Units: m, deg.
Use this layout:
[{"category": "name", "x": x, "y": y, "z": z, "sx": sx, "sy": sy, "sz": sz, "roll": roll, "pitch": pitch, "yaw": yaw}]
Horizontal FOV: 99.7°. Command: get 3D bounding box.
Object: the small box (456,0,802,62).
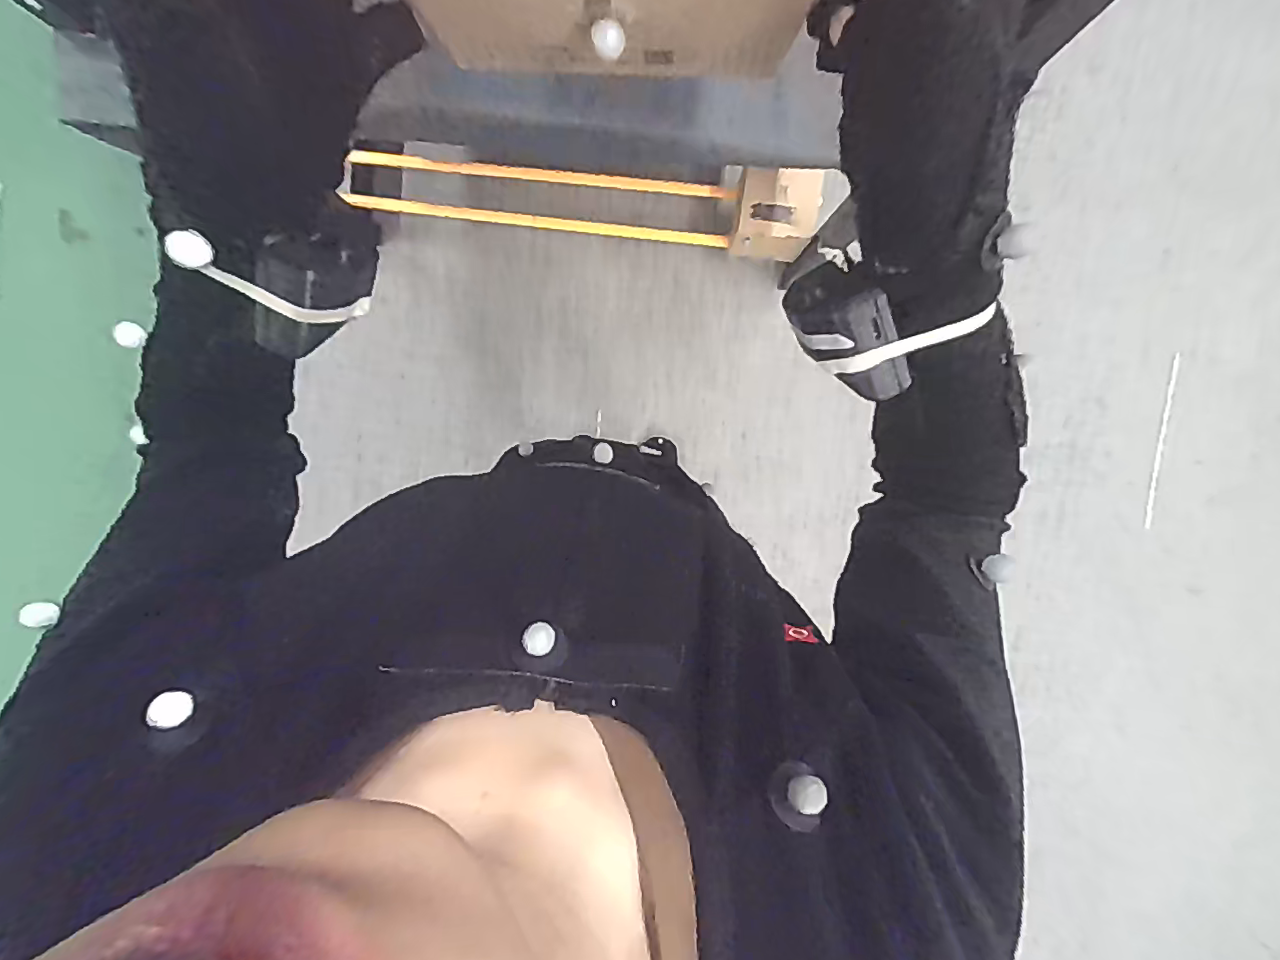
[{"category": "small box", "x": -0.009, "y": -0.278, "z": 0.172, "sx": 0.168, "sy": 0.176, "sz": 0.179, "roll": 2, "pitch": 105, "yaw": 2}]
